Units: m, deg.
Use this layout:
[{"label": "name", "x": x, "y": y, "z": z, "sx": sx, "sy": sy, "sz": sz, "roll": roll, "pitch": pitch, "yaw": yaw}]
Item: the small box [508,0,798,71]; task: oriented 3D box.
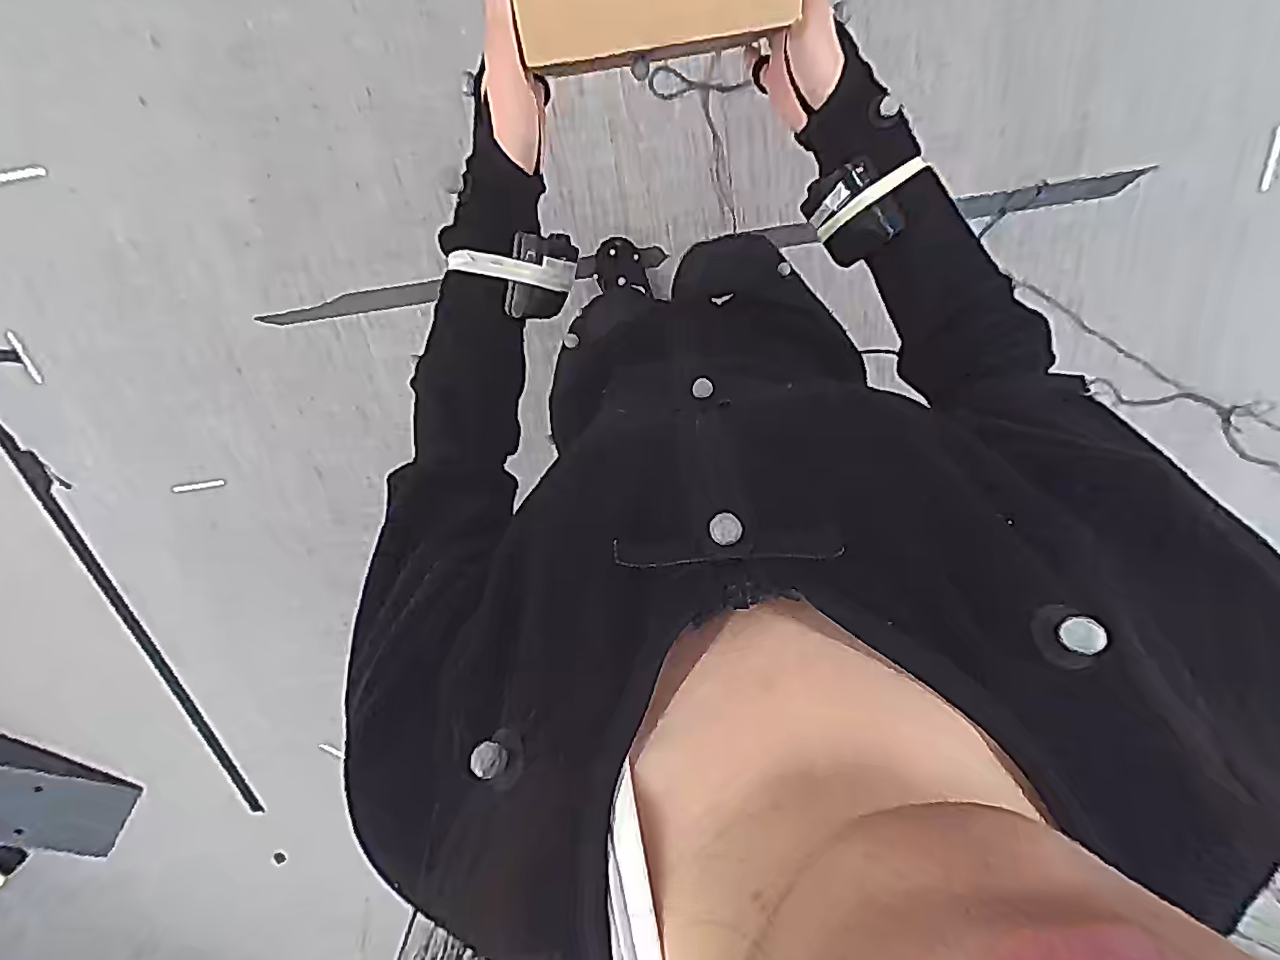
[{"label": "small box", "x": -0.001, "y": -0.384, "z": 0.355, "sx": 0.179, "sy": 0.176, "sz": 0.168, "roll": -7, "pitch": 126, "yaw": 2}]
